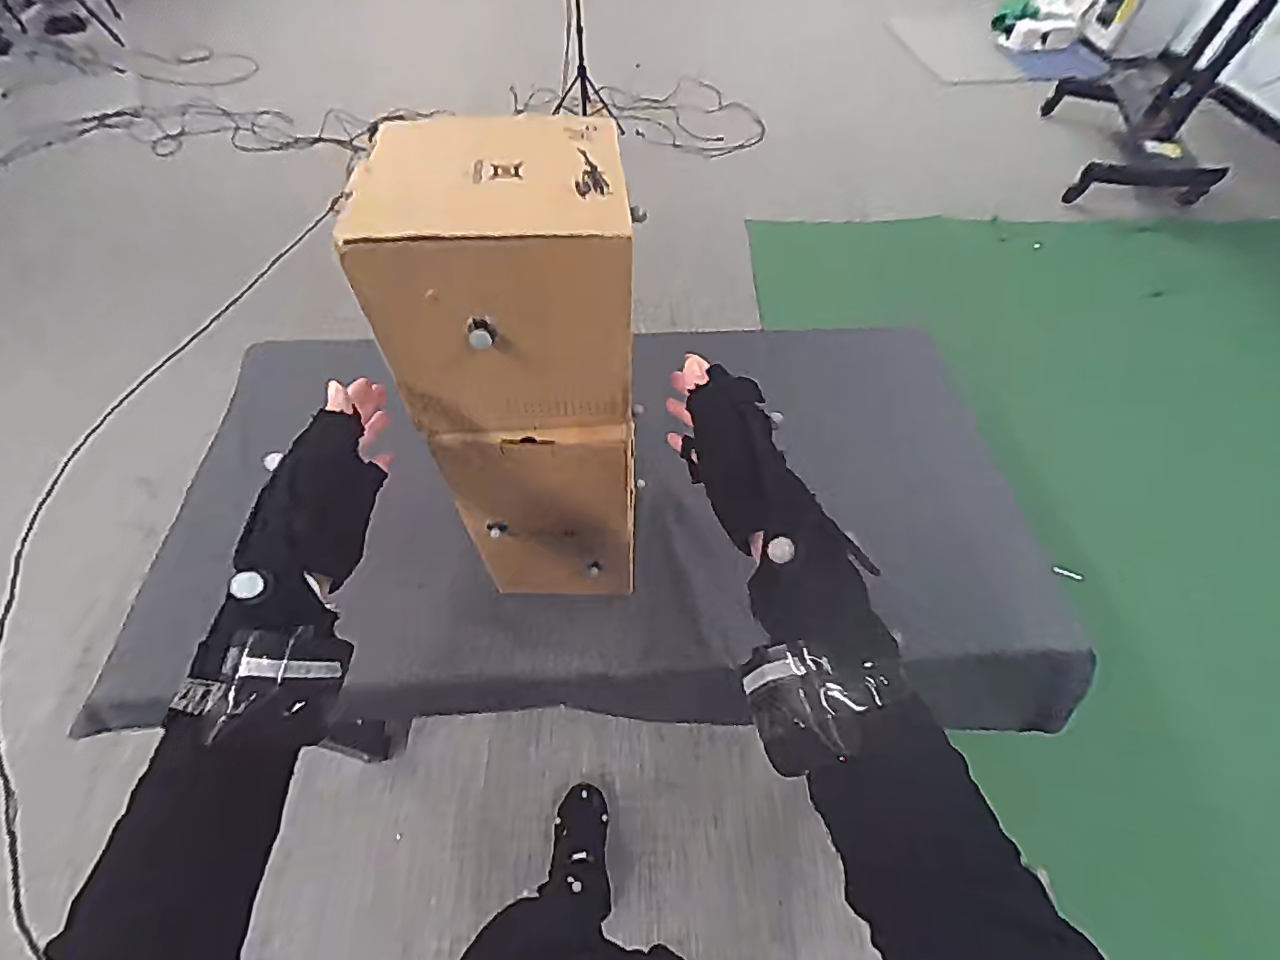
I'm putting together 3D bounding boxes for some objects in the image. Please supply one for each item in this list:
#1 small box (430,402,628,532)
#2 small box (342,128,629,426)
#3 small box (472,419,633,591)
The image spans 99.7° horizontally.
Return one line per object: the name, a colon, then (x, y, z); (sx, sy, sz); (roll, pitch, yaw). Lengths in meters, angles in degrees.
small box: (-0.097, -0.054, 0.562); (0.168, 0.176, 0.179); (-2, 56, -2)
small box: (-0.103, -0.158, 0.439); (0.179, 0.176, 0.168); (-5, 53, -6)
small box: (-0.097, 0.035, 0.700); (0.179, 0.176, 0.168); (0, 55, 1)
